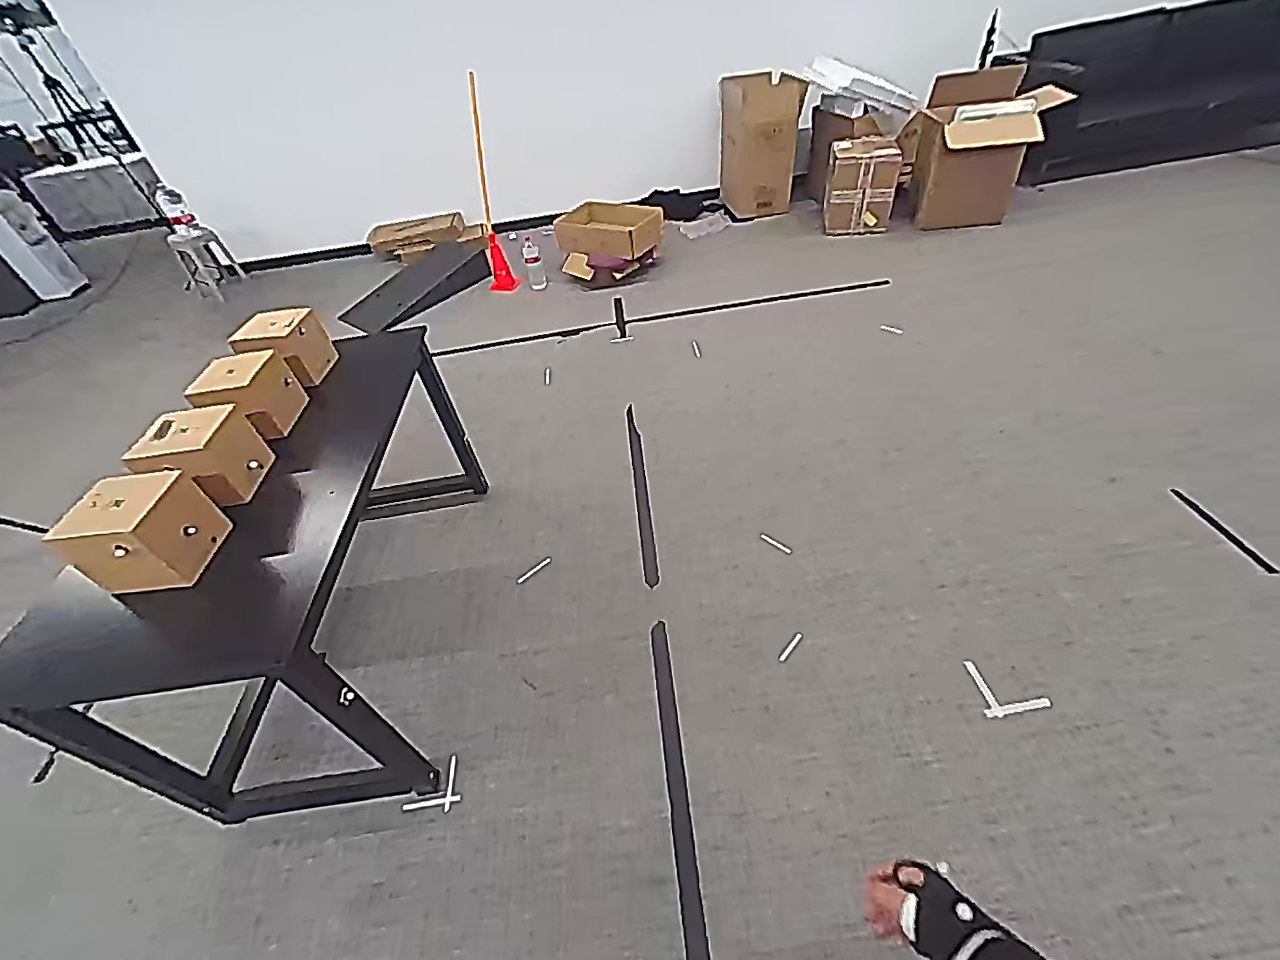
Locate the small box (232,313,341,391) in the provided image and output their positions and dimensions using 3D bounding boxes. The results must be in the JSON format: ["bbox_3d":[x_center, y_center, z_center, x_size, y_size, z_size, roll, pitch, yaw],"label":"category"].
[{"bbox_3d":[-1.039,-0.374,1.606,0.179,0.176,0.168,-6,44,5],"label":"small box"}]

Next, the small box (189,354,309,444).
[{"bbox_3d":[-1.019,-0.208,1.432,0.168,0.176,0.179,-10,44,2],"label":"small box"}]

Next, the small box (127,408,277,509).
[{"bbox_3d":[-0.994,-0.042,1.248,0.179,0.176,0.168,-8,43,-1],"label":"small box"}]

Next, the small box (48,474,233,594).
[{"bbox_3d":[-0.980,0.111,1.085,0.179,0.176,0.168,-7,43,3],"label":"small box"}]
